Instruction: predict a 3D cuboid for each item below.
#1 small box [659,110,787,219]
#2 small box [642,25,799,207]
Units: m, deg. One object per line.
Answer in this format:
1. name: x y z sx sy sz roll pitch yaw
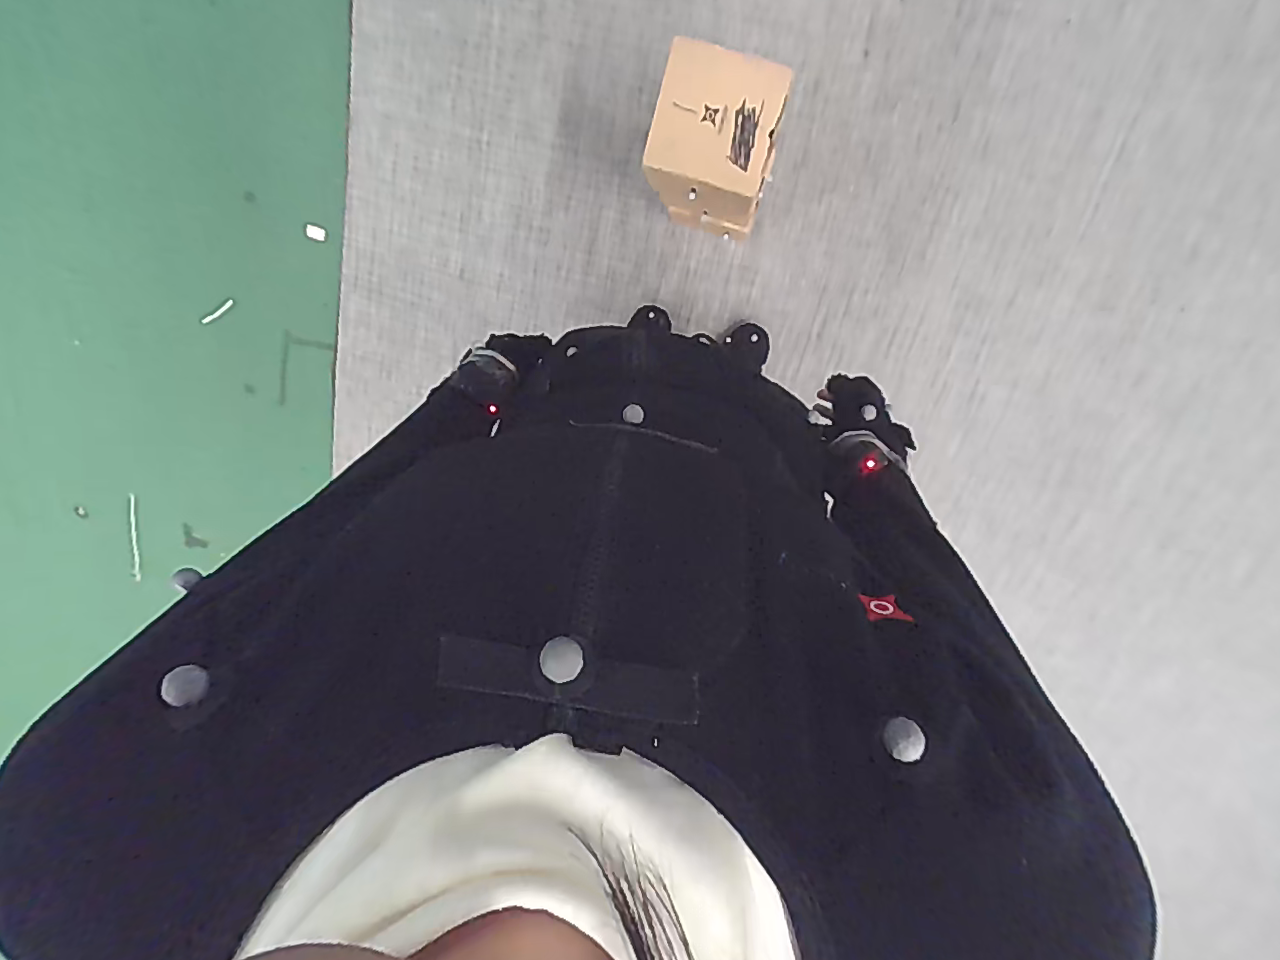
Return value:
1. small box: 0.148 -0.593 0.992 0.179 0.176 0.168 18 110 2
2. small box: 0.119 -0.541 0.835 0.179 0.176 0.168 21 108 1
